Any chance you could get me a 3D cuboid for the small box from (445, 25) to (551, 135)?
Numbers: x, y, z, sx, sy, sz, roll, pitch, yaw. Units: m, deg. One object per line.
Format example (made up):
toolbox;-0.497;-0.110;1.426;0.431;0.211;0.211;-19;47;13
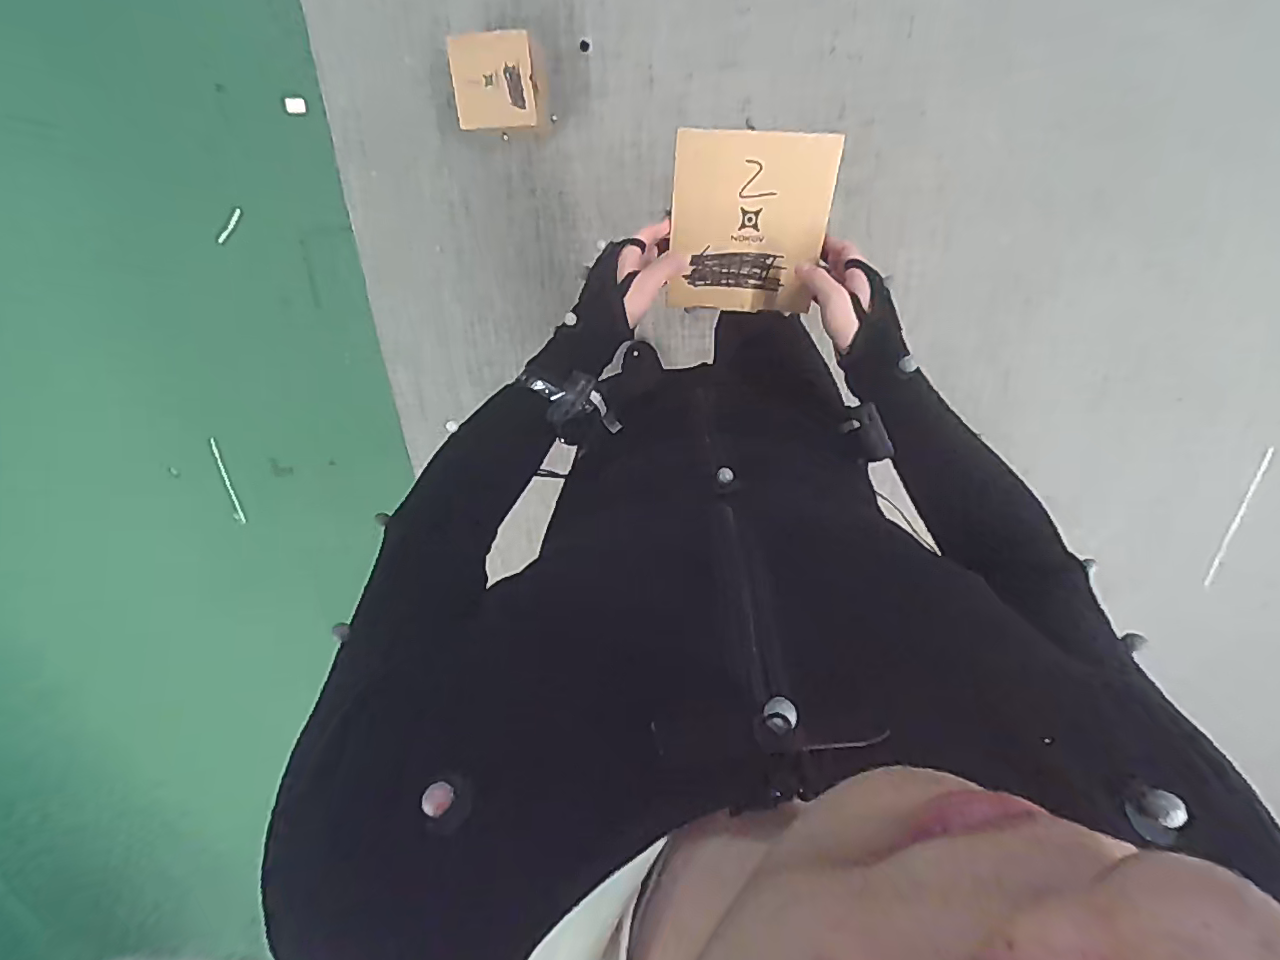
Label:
small box;-0.299;-0.866;1.184;0.179;0.176;0.168;0;115;5
